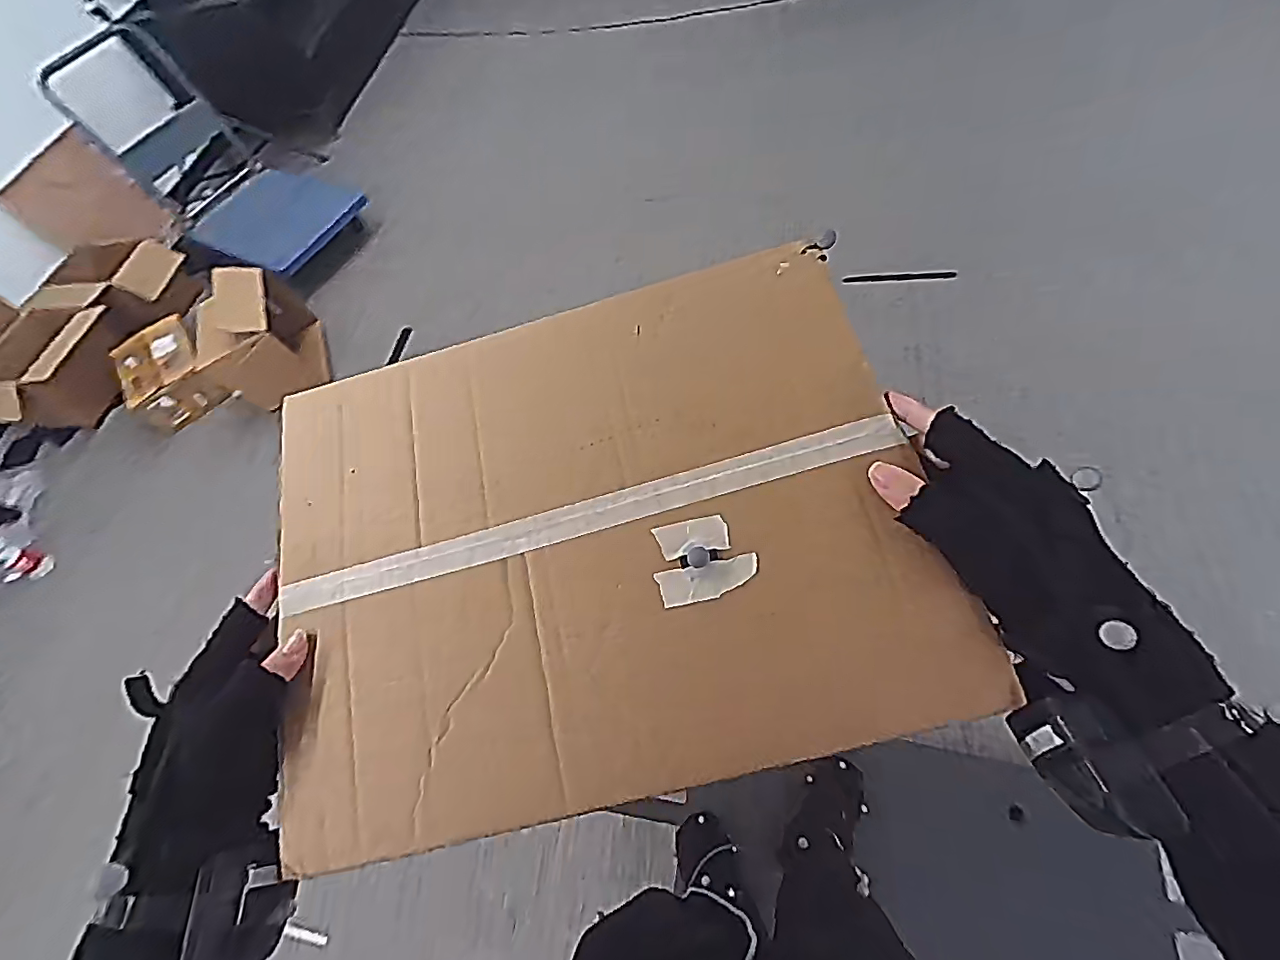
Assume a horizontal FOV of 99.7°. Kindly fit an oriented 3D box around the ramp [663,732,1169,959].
[{"bbox_3d":[0.576,0.817,1.144,0.991,0.206,0.509,4,62,13],"label":"ramp"}]

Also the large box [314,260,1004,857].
[{"bbox_3d":[-0.006,0.078,0.491,0.408,0.320,0.320,-15,69,4],"label":"large box"}]
